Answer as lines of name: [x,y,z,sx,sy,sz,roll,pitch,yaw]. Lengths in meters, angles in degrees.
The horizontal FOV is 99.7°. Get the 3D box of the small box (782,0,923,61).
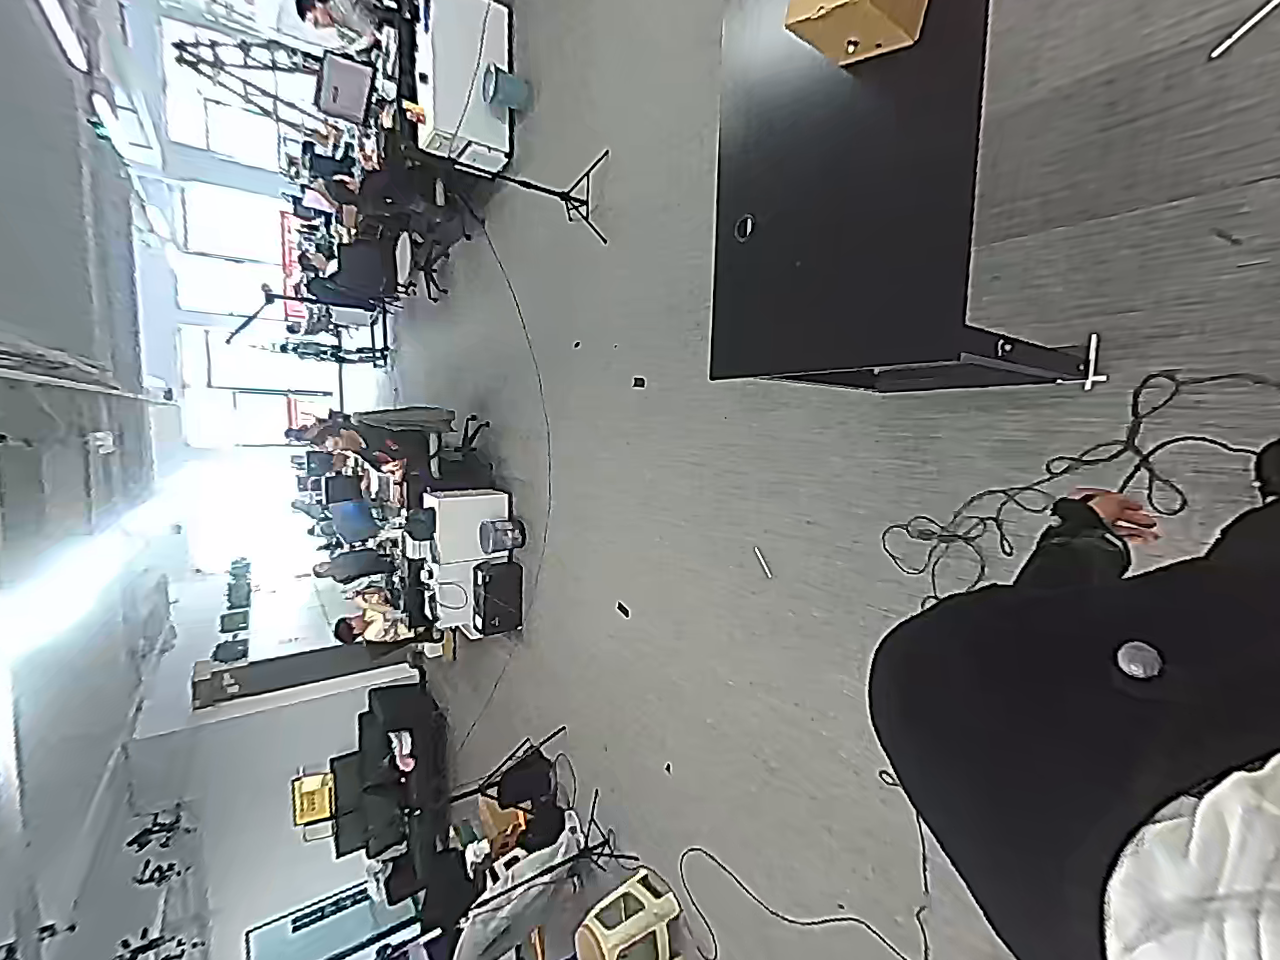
small box: [0.376,-0.865,0.923,0.168,0.176,0.179,31,118,51]
